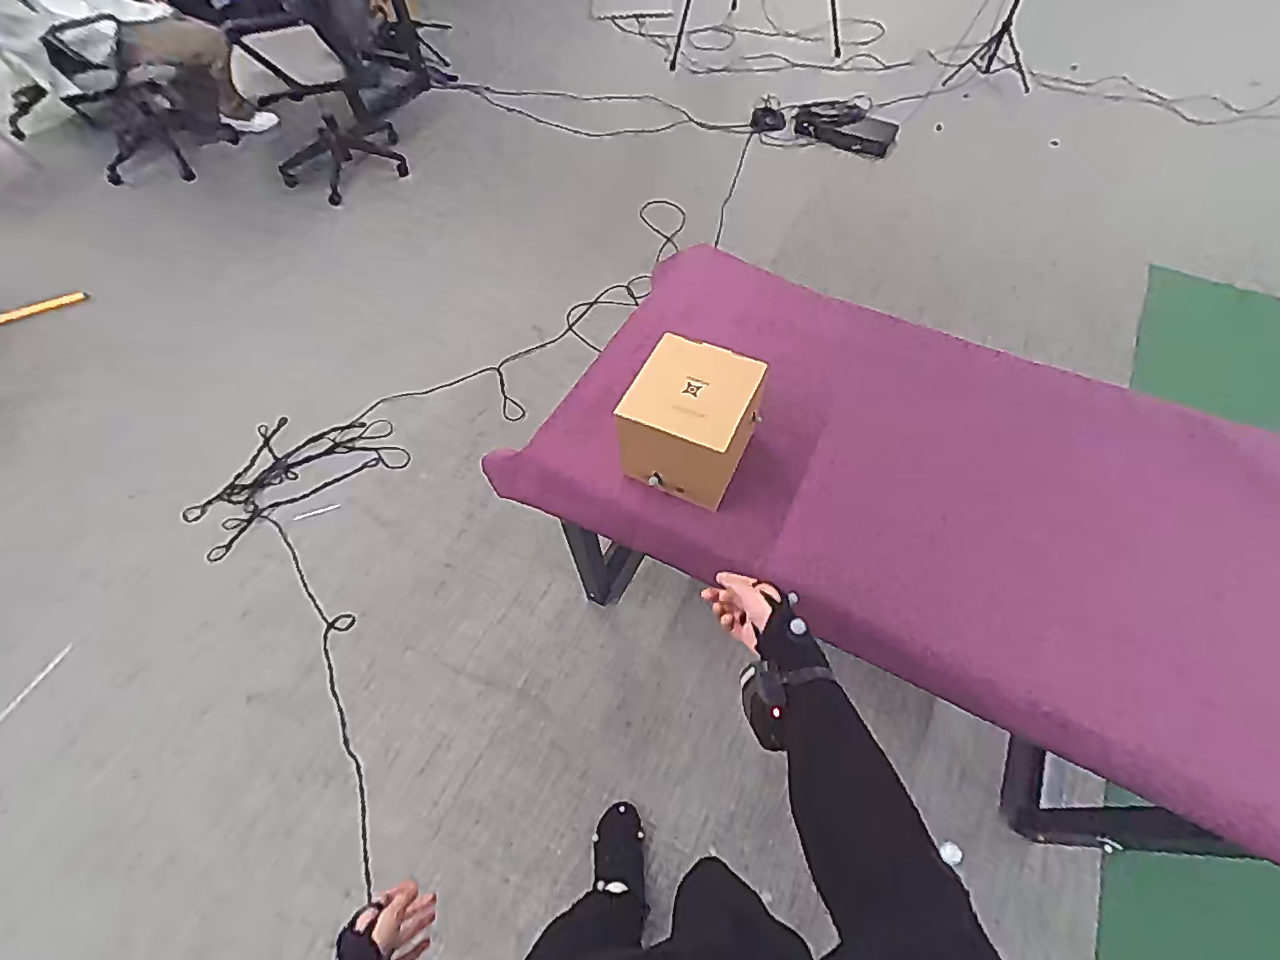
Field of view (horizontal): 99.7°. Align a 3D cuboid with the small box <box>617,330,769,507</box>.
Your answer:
[{"bbox_3d":[0.078,-0.090,0.830,0.168,0.176,0.179,23,62,16],"label":"small box"}]
